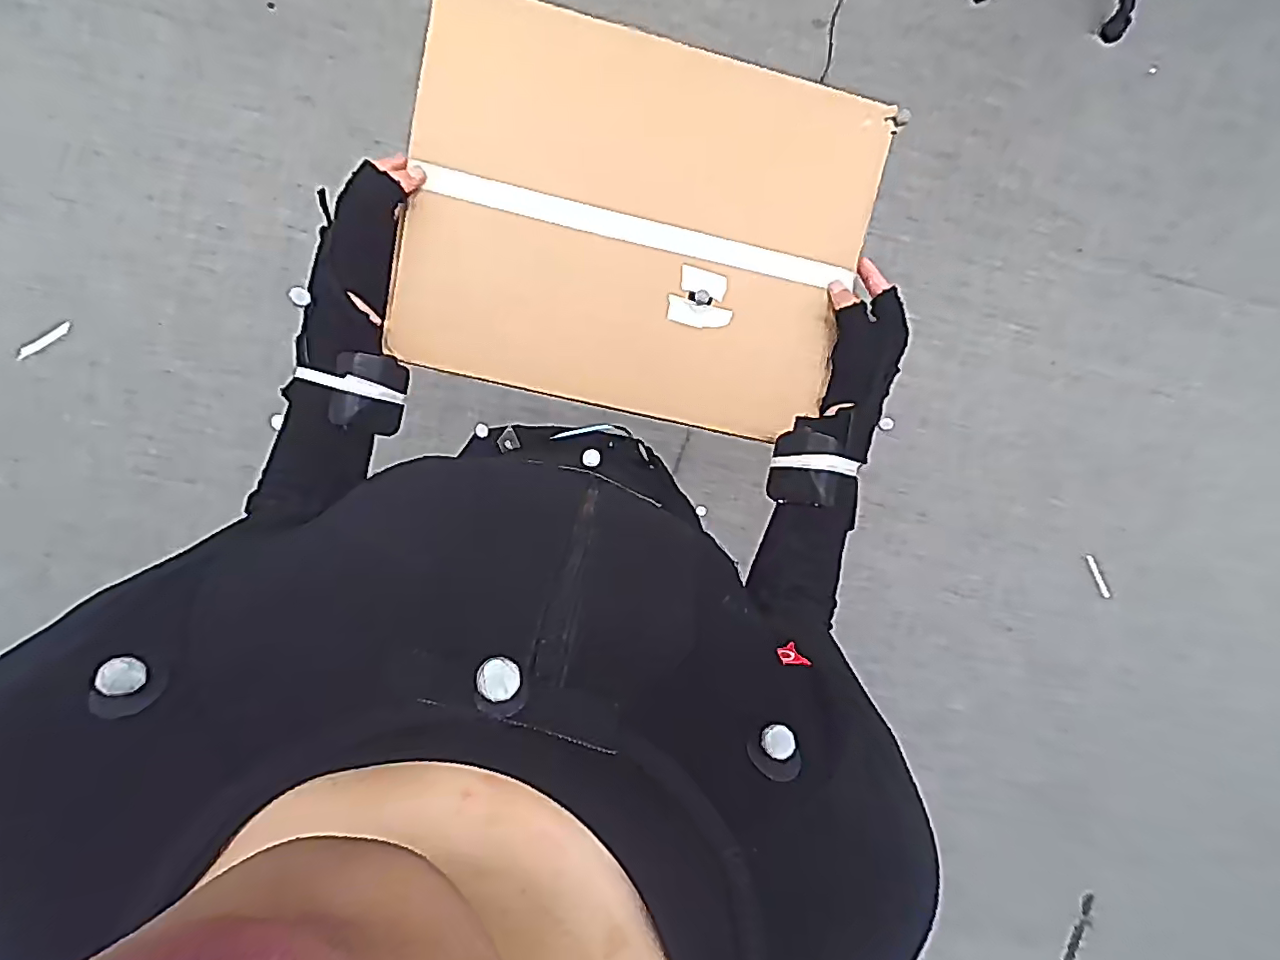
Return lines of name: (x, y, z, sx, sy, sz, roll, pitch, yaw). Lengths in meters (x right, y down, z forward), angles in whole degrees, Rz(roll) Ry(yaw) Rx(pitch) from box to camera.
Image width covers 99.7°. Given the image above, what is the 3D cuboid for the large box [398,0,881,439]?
large box: (-0.014, -0.245, 0.640, 0.408, 0.320, 0.320, 12, 98, -7)
